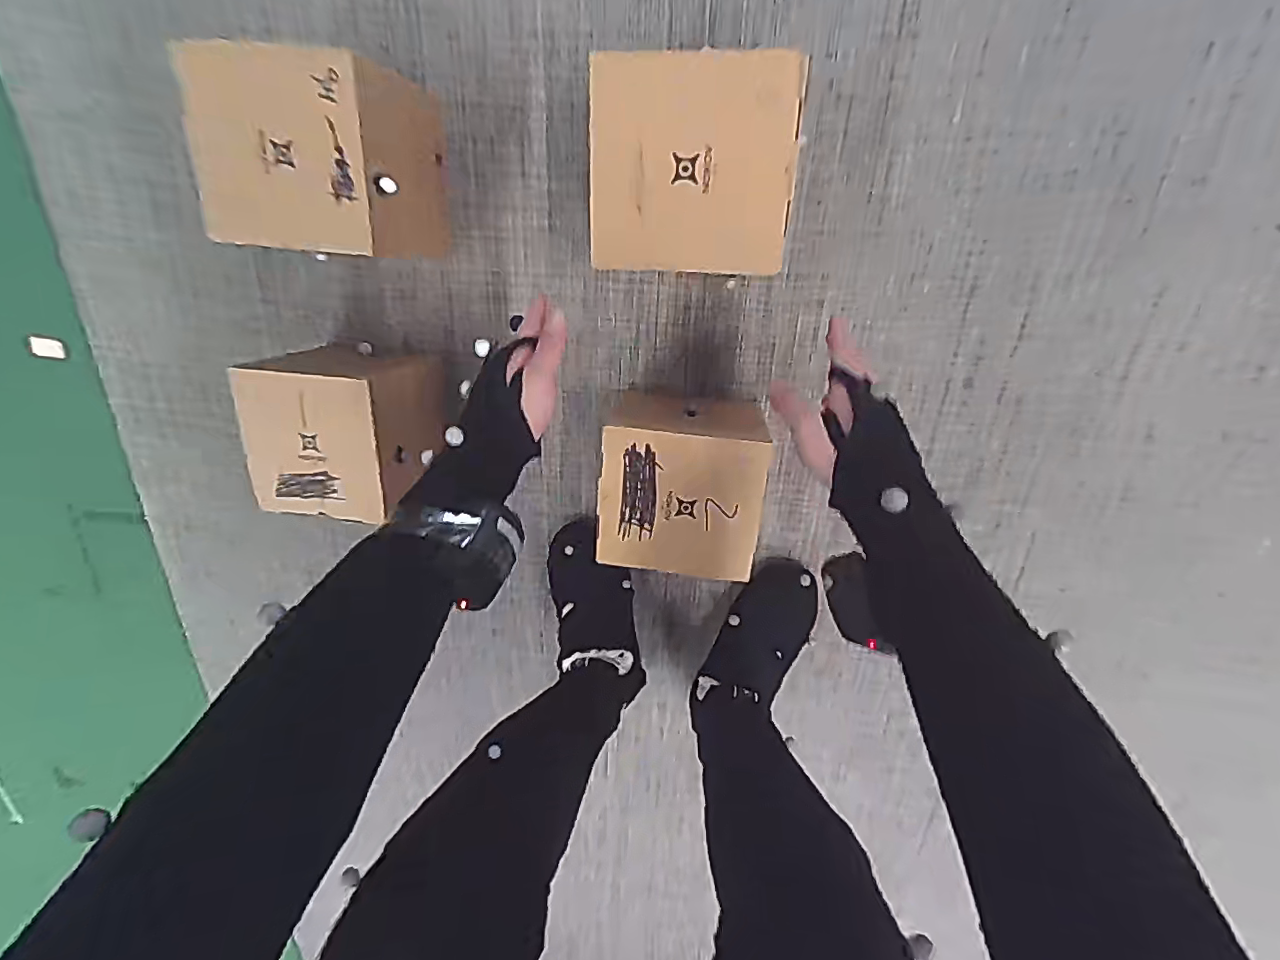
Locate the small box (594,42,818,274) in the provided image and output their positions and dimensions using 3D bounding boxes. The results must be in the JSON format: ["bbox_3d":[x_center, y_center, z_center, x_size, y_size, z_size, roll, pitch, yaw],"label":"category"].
[{"bbox_3d":[0.058,-0.295,0.526,0.179,0.176,0.168,5,112,7],"label":"small box"}]

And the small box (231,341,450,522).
[{"bbox_3d":[-0.353,-0.069,0.677,0.168,0.176,0.179,6,112,6],"label":"small box"}]

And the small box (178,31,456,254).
[{"bbox_3d":[-0.315,-0.334,0.565,0.179,0.176,0.168,8,113,6],"label":"small box"}]
